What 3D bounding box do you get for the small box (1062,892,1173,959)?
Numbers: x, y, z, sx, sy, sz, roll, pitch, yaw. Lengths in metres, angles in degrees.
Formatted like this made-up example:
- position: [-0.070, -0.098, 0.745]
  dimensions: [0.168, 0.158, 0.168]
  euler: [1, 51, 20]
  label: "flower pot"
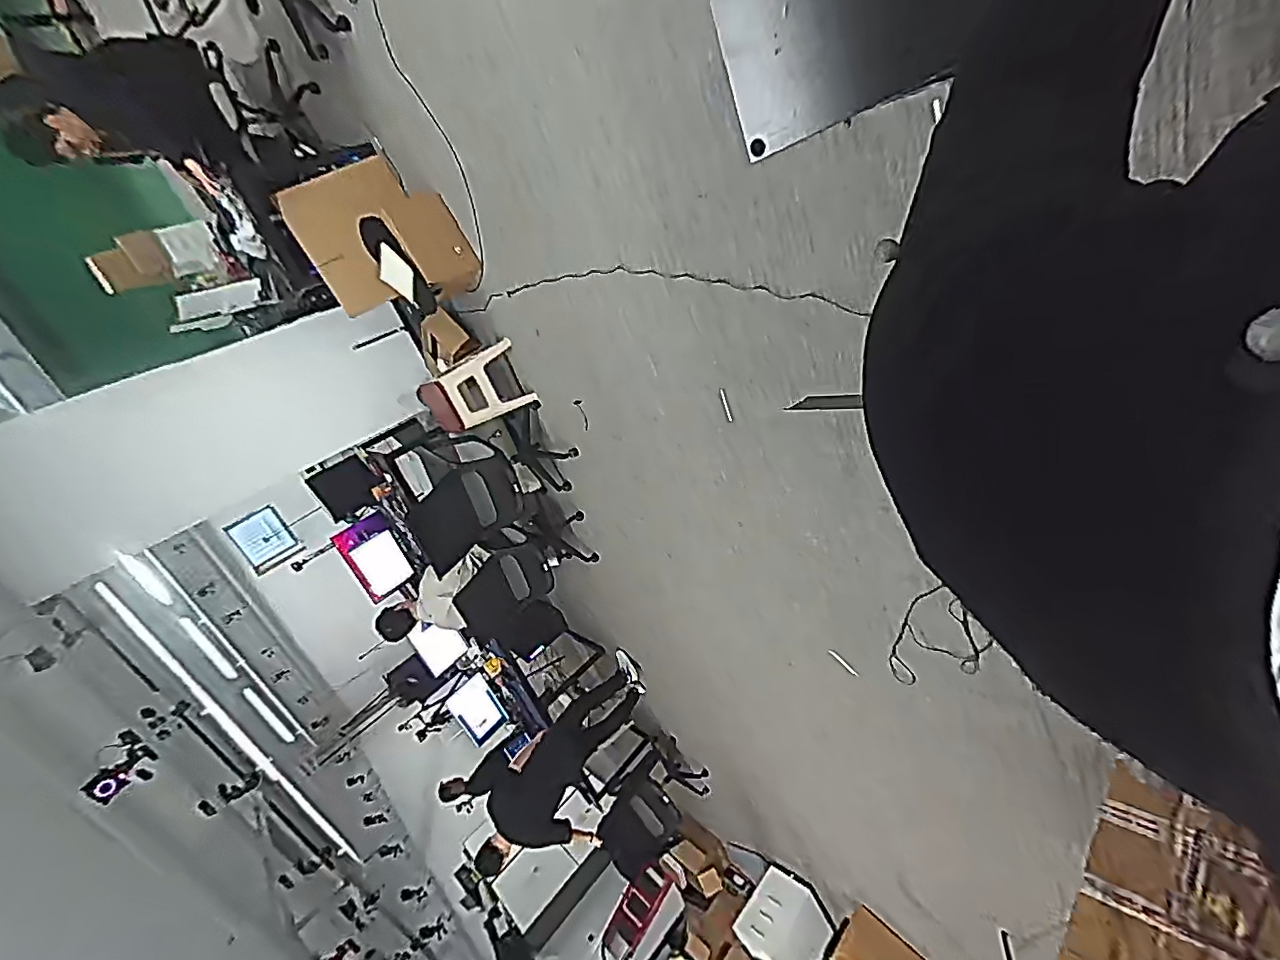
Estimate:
- position: [1.234, 1.222, 1.395]
  dimensions: [0.179, 0.176, 0.168]
  euler: [-4, 115, 55]
  label: "small box"
